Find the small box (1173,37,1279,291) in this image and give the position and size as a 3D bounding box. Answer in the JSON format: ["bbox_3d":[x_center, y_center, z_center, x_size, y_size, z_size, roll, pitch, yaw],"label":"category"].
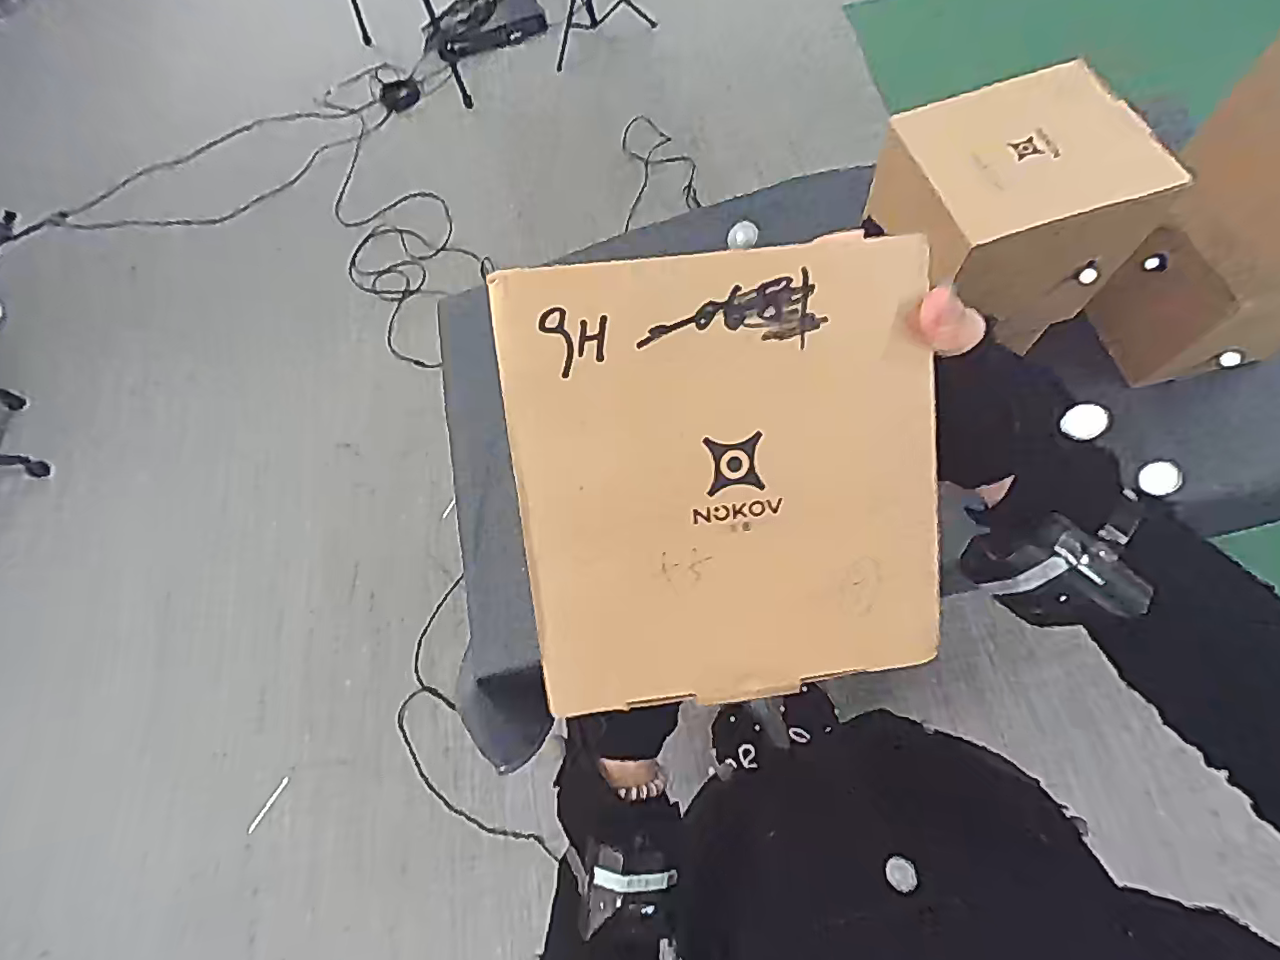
[{"bbox_3d":[0.657,-0.297,0.496,0.168,0.176,0.179,-11,67,5],"label":"small box"}]

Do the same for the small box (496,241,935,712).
[{"bbox_3d":[0.030,-0.011,0.292,0.168,0.176,0.179,-8,100,-5],"label":"small box"}]

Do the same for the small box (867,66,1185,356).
[{"bbox_3d":[0.342,-0.248,0.533,0.179,0.176,0.168,-15,66,4],"label":"small box"}]
